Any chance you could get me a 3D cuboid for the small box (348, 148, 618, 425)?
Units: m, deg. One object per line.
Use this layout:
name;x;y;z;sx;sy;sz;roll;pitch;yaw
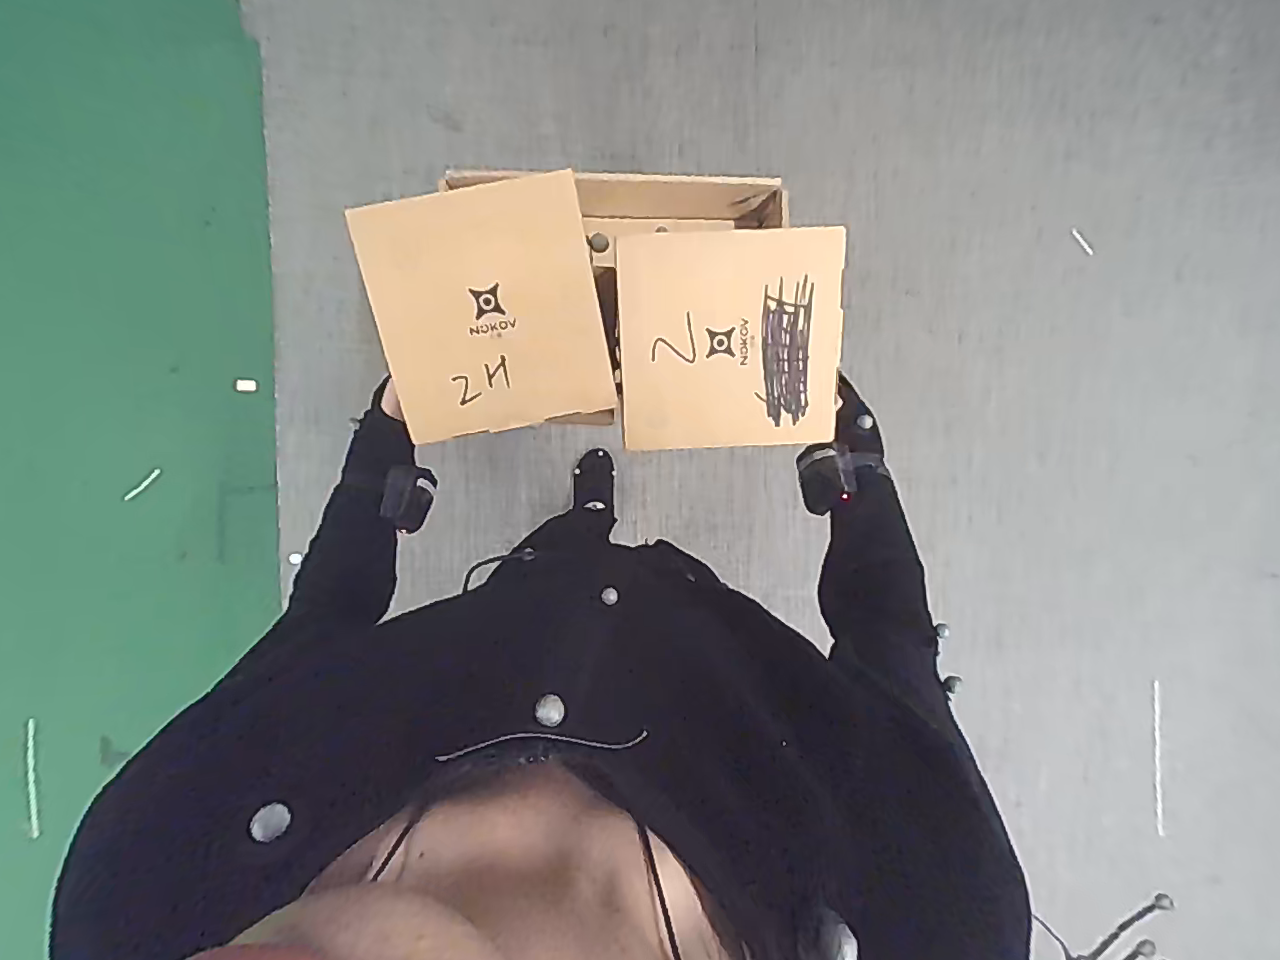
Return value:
small box;-0.116;-0.155;0.475;0.168;0.176;0.179;-10;103;-1
